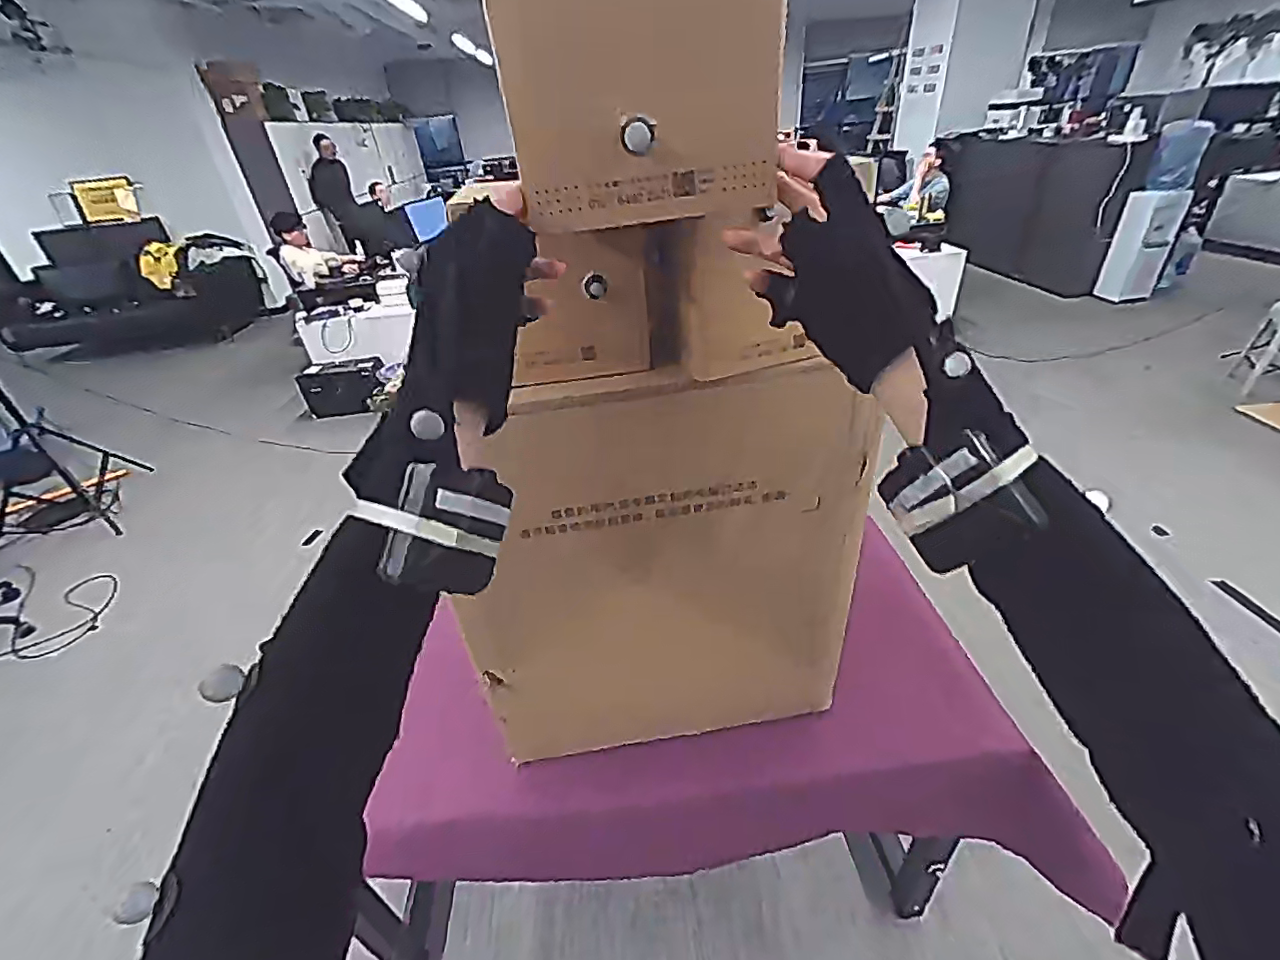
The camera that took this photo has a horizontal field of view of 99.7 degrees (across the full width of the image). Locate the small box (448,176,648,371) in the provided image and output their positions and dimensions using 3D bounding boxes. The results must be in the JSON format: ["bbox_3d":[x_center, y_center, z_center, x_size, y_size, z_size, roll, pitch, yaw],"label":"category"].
[{"bbox_3d":[-0.087,-0.218,0.564,0.168,0.176,0.179,-7,33,-6],"label":"small box"}]

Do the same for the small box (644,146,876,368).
[{"bbox_3d":[0.104,-0.230,0.547,0.168,0.176,0.179,-14,35,-10],"label":"small box"}]

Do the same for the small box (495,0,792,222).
[{"bbox_3d":[-0.002,-0.291,0.370,0.168,0.176,0.179,-8,40,1],"label":"small box"}]
